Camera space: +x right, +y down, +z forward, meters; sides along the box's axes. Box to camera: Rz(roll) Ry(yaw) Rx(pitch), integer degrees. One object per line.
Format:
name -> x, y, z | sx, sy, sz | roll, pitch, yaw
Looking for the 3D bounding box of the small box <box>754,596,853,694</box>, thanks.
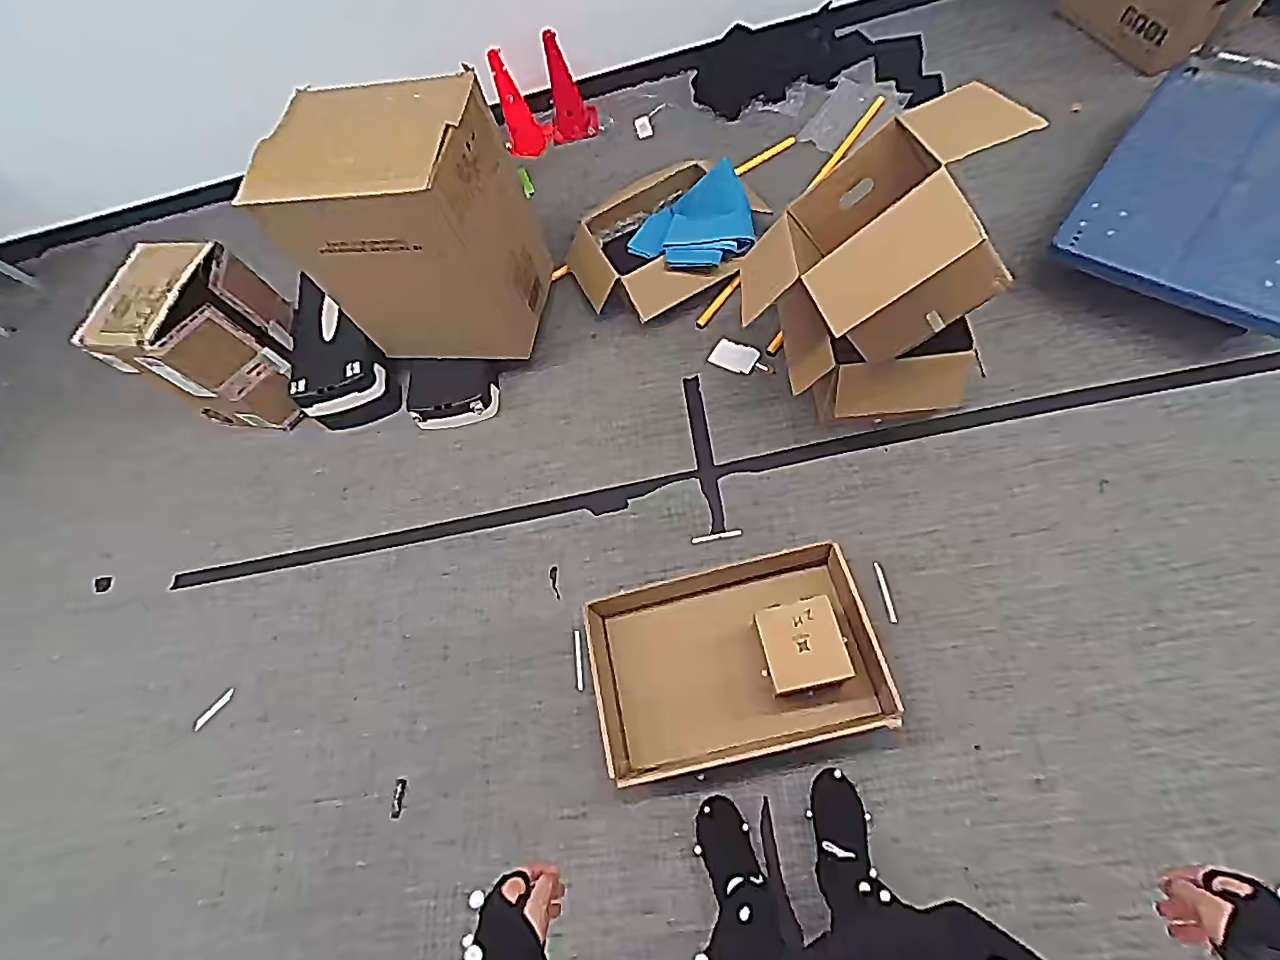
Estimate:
small box -> 0.359, 0.377, 1.214 | 0.168, 0.176, 0.179 | -14, 63, 5
